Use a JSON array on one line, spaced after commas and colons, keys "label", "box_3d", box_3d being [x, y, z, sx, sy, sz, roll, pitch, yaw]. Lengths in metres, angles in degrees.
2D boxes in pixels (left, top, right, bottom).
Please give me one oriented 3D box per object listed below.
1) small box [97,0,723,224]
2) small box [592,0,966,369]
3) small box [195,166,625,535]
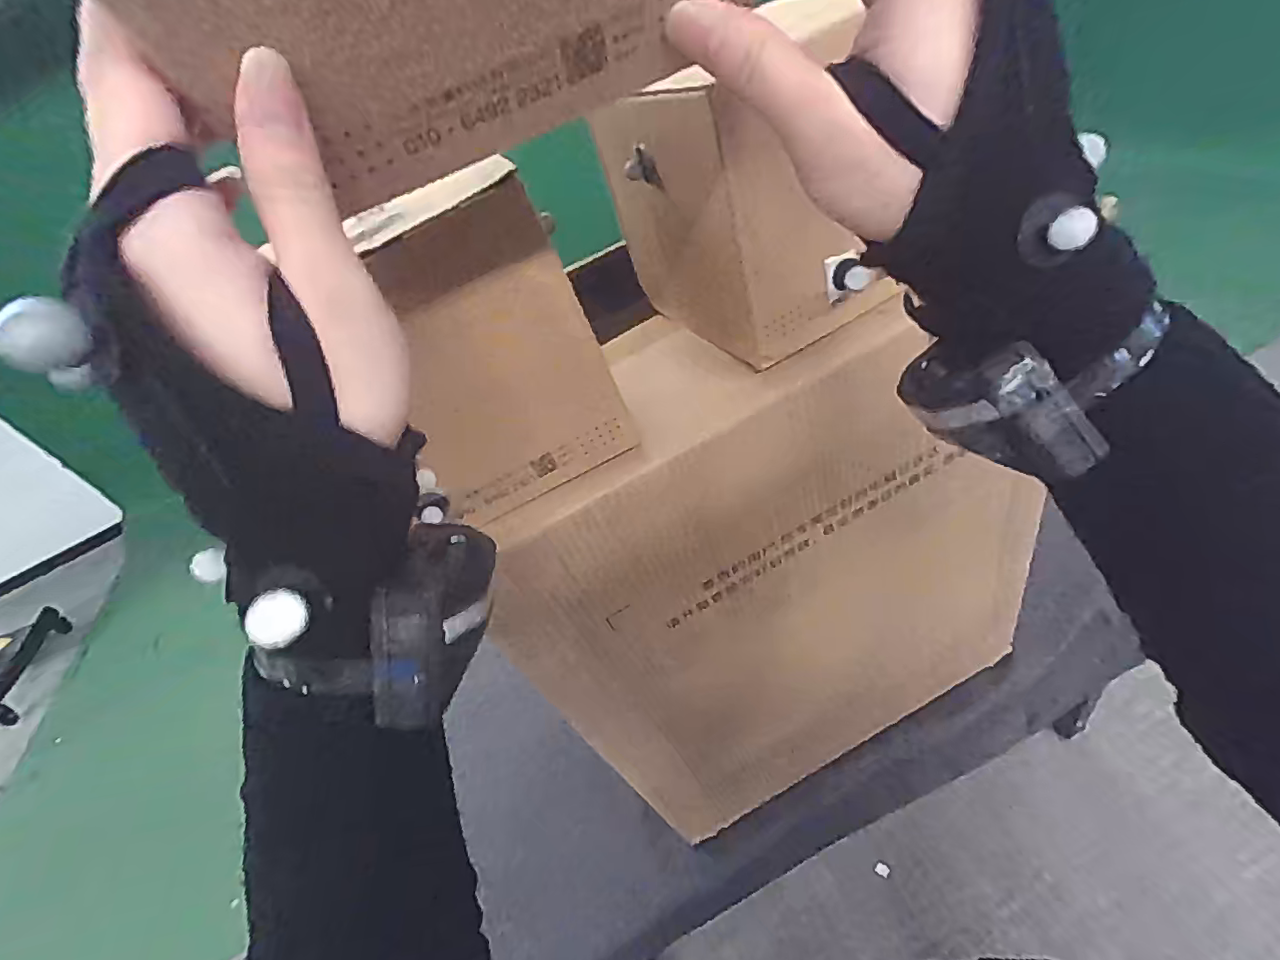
[{"label": "small box", "box_3d": [-0.083, -0.210, 0.134, 0.168, 0.176, 0.179, -25, 75, -1]}, {"label": "small box", "box_3d": [0.089, -0.204, 0.381, 0.168, 0.176, 0.179, -32, 42, -8]}, {"label": "small box", "box_3d": [-0.127, -0.086, 0.360, 0.168, 0.176, 0.179, -28, 40, -1]}]
